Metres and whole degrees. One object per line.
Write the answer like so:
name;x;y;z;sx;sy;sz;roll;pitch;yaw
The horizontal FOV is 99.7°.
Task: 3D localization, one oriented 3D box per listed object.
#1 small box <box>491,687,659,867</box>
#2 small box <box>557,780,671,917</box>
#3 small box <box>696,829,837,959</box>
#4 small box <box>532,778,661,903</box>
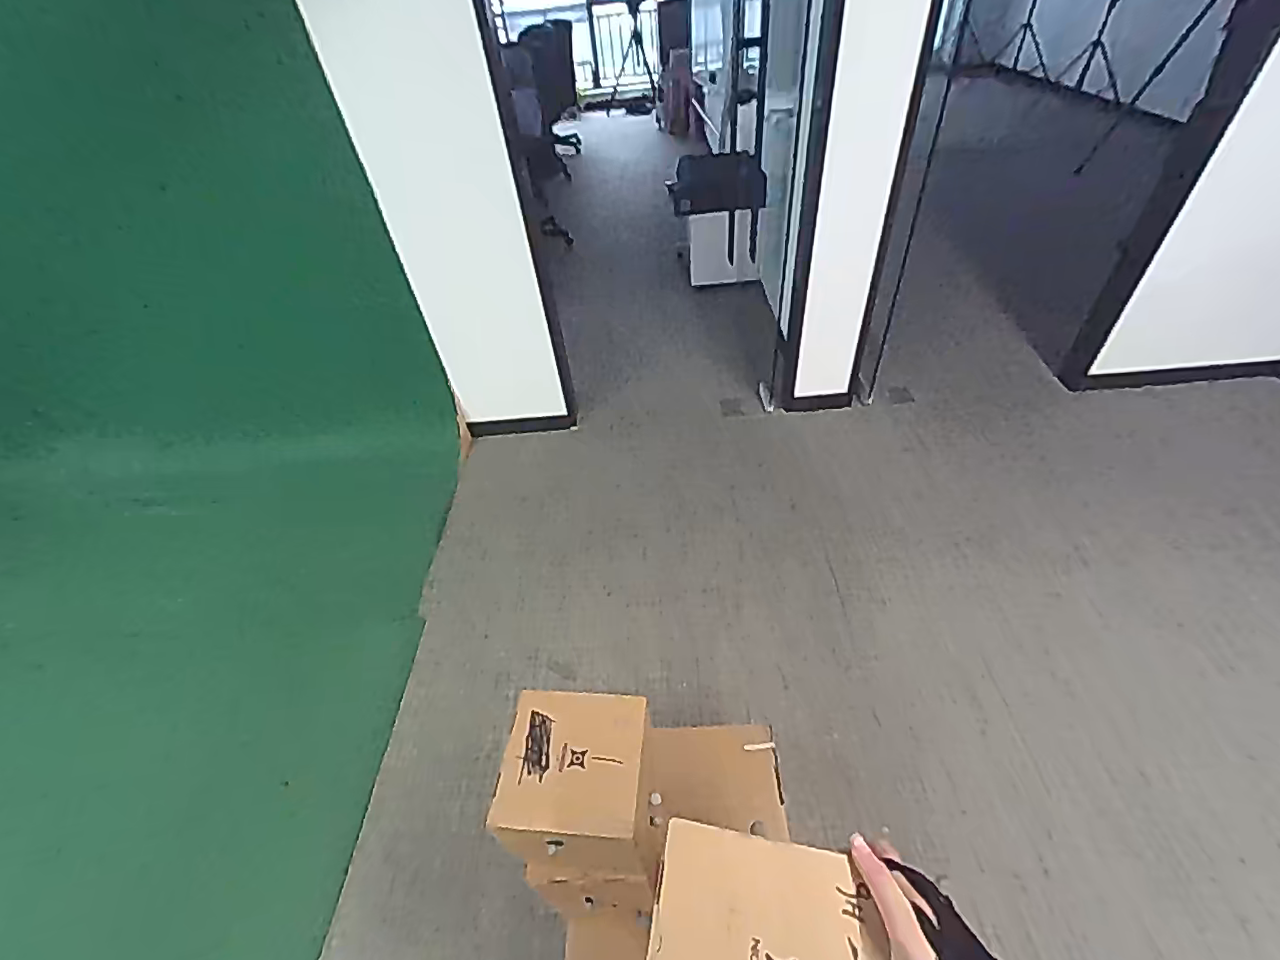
small box;-0.073;0.400;0.728;0.179;0.176;0.168;1;44;8
small box;-0.036;0.643;0.944;0.179;0.176;0.168;-5;42;3
small box;0.162;0.600;0.721;0.168;0.176;0.179;2;44;10
small box;-0.056;0.526;0.833;0.168;0.176;0.179;-4;44;5
